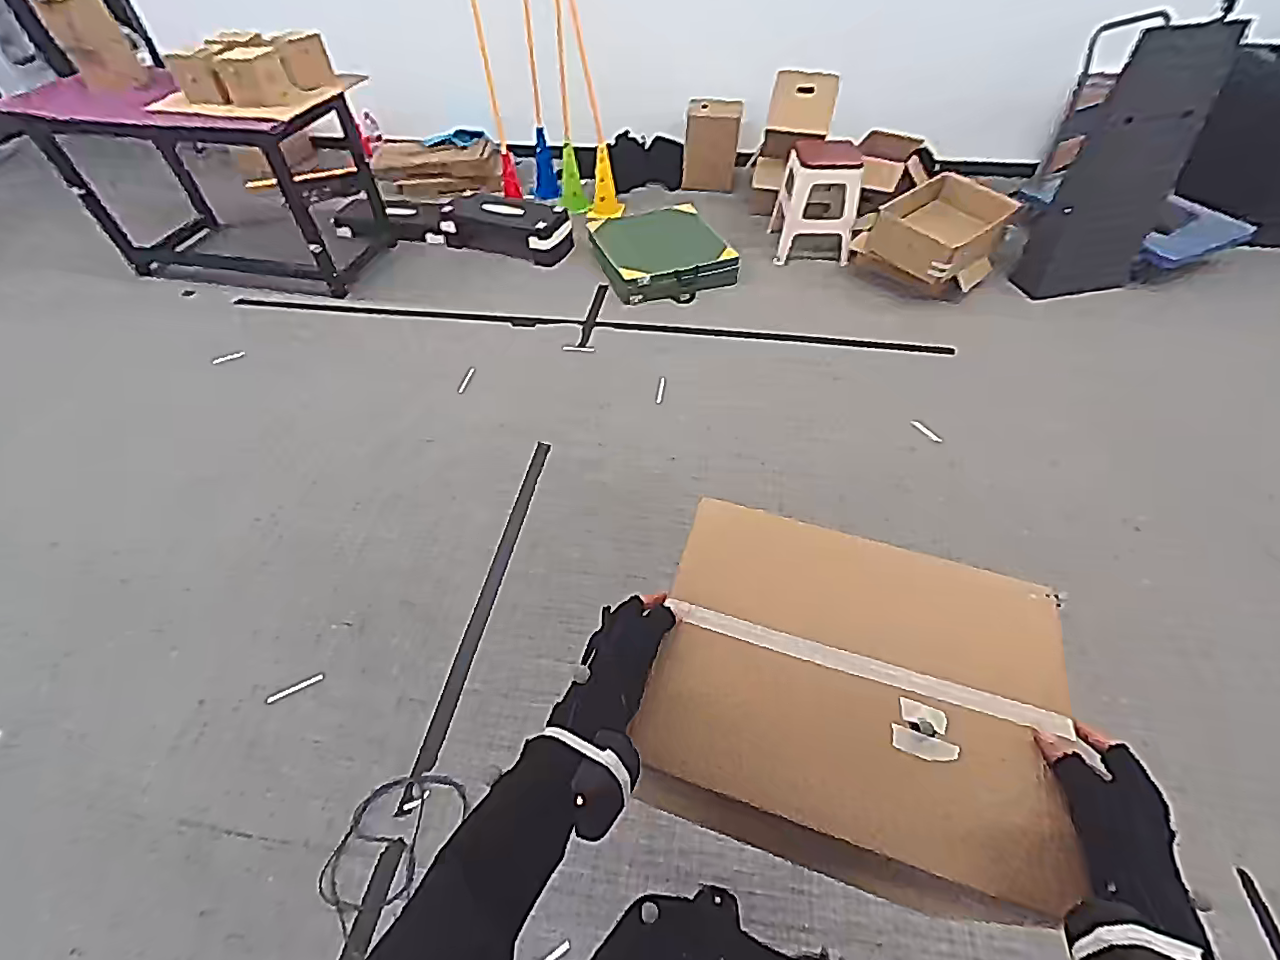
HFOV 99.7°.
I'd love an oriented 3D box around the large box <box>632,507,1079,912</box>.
[{"bbox_3d":[0.224,0.284,0.689,0.408,0.320,0.320,15,56,11],"label":"large box"}]
